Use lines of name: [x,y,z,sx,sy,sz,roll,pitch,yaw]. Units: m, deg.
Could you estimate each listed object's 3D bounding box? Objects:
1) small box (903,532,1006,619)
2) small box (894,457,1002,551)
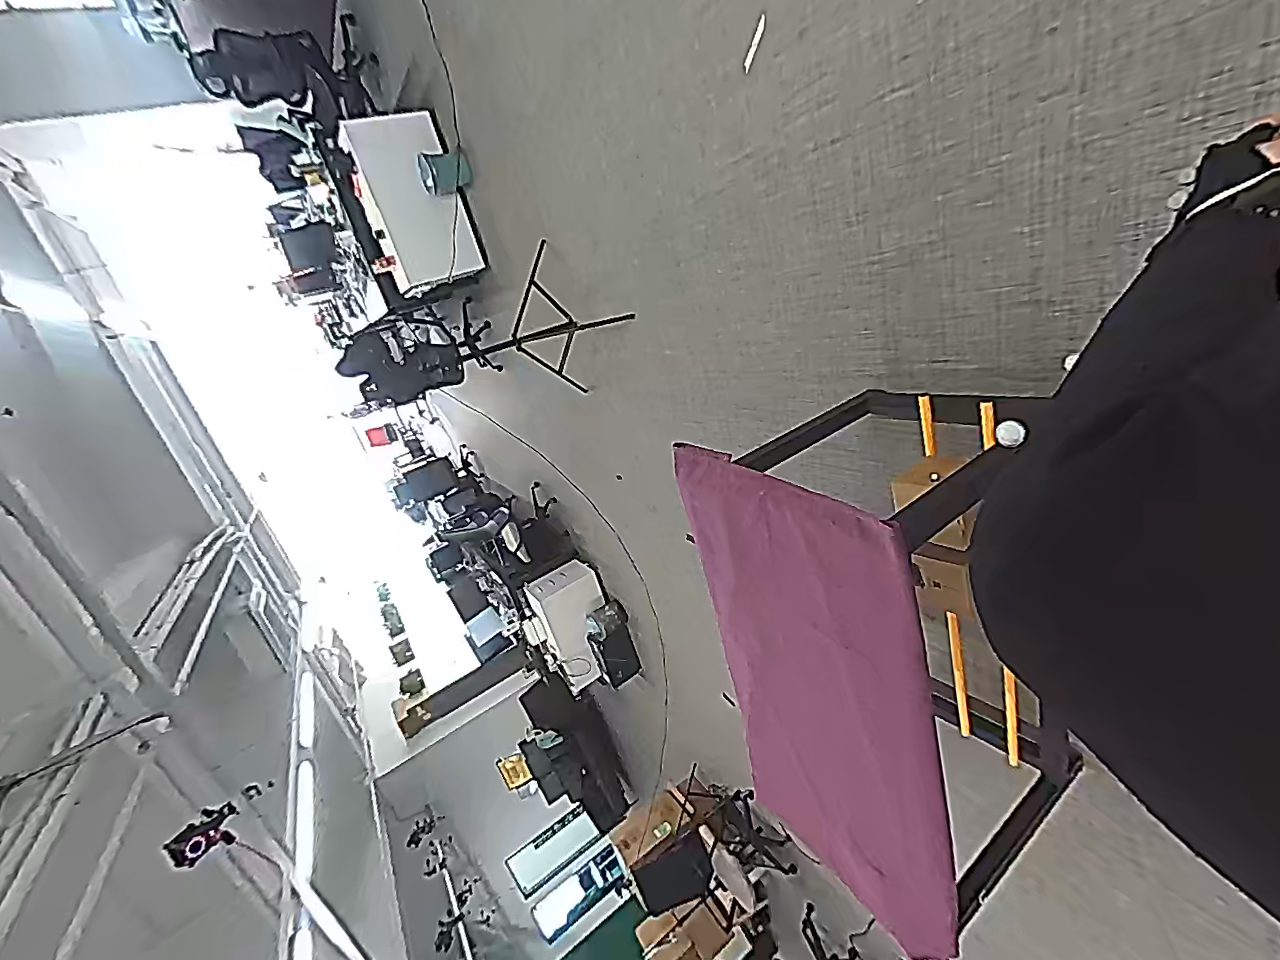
small box: [0.846,0.237,1.455,0.179,0.176,0.168,14,128,56]
small box: [0.787,0.053,1.381,0.179,0.176,0.168,15,128,57]
